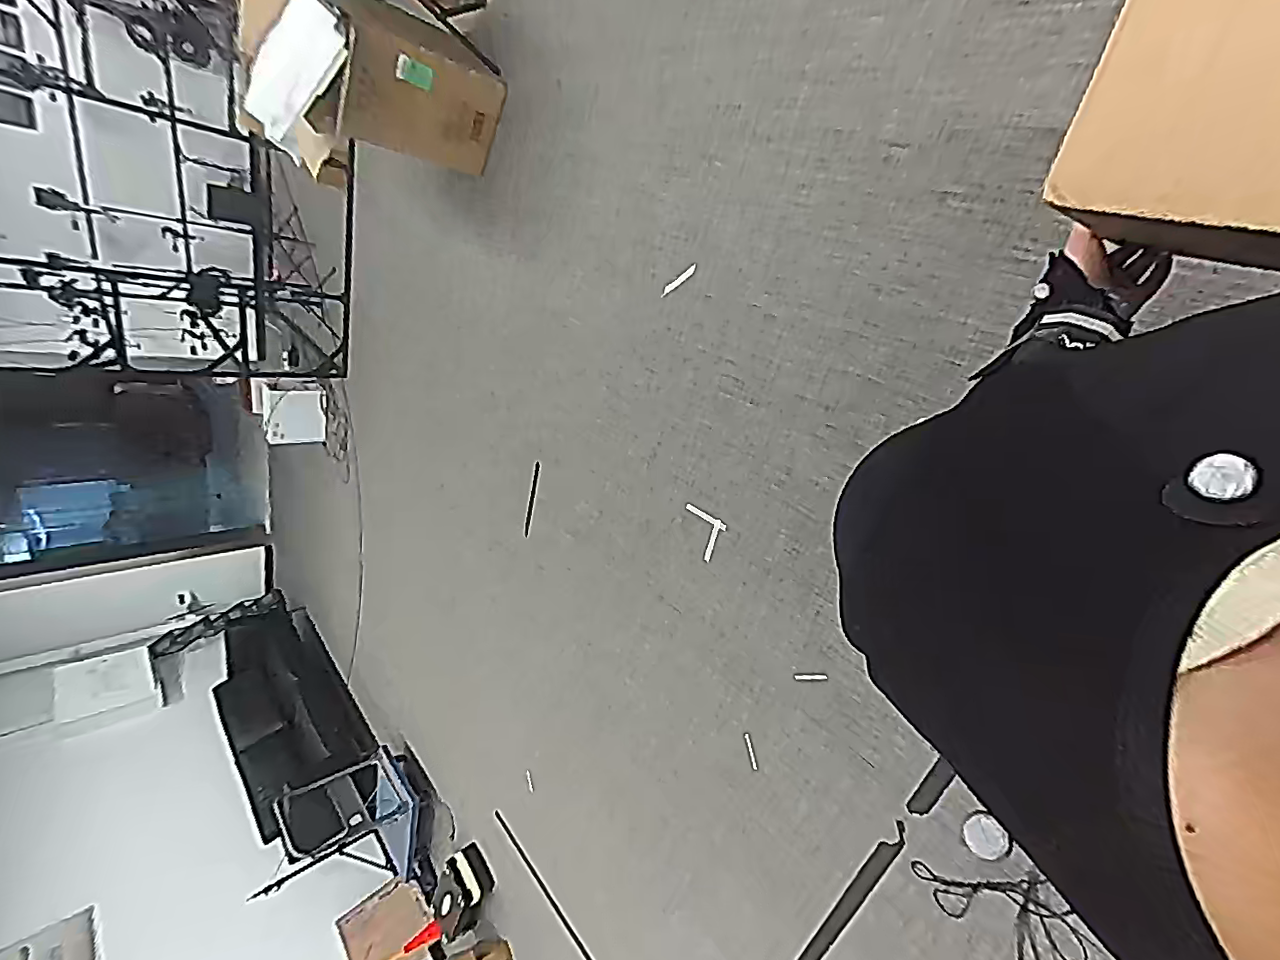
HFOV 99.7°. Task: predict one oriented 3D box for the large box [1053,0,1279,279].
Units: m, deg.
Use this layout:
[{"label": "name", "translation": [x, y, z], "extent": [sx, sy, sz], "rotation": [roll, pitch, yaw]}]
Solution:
[{"label": "large box", "translation": [0.509, -0.244, 0.244], "extent": [0.408, 0.320, 0.320], "rotation": [32, 124, 36]}]
